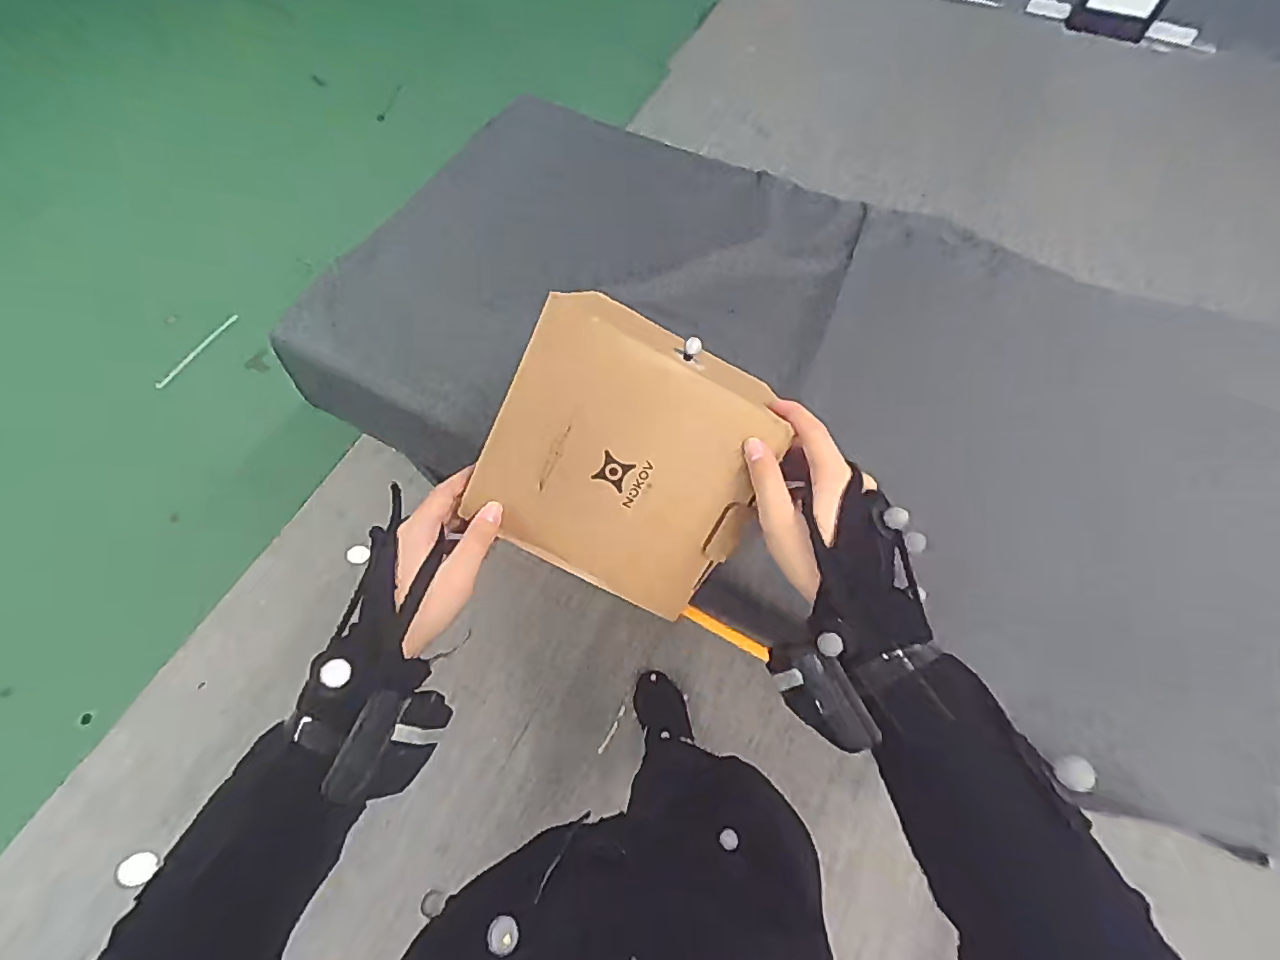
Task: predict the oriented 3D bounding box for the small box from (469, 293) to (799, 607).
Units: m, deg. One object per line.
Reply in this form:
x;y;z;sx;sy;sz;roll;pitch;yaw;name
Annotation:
-0.003;-0.036;0.440;0.179;0.176;0.168;27;107;-4;small box
